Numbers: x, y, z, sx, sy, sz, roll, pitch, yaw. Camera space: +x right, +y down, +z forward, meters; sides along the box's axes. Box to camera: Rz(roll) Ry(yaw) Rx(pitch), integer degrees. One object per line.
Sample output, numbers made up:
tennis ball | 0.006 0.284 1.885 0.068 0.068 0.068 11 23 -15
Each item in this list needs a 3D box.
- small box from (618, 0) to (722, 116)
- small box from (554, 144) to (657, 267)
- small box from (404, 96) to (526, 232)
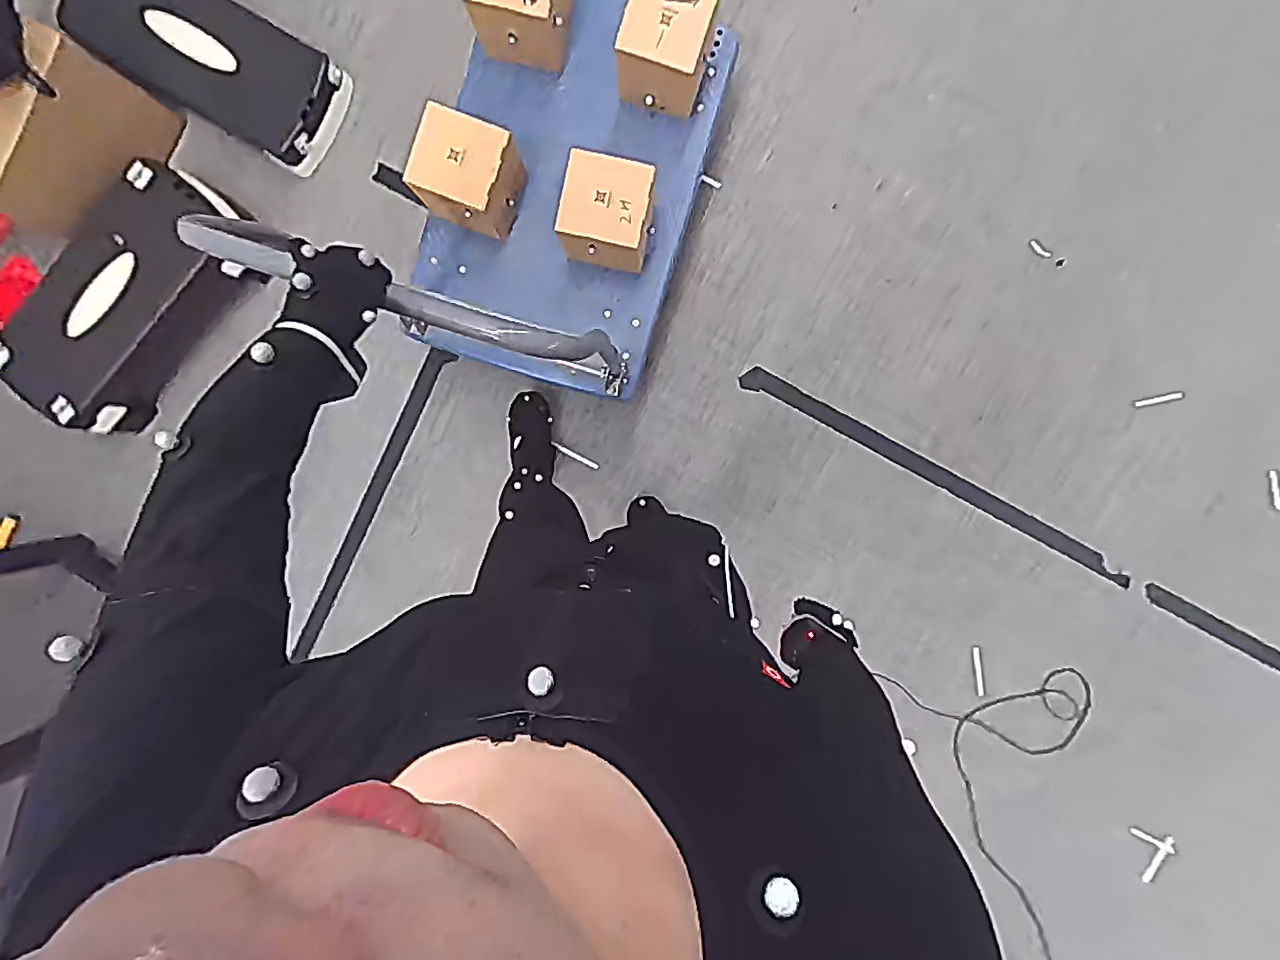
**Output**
small box | 0.061 -0.912 1.121 0.168 0.176 0.179 20 96 0
small box | -0.067 -0.573 1.153 0.179 0.176 0.168 14 95 0
small box | -0.363 -0.661 1.153 0.179 0.176 0.168 21 94 -2
